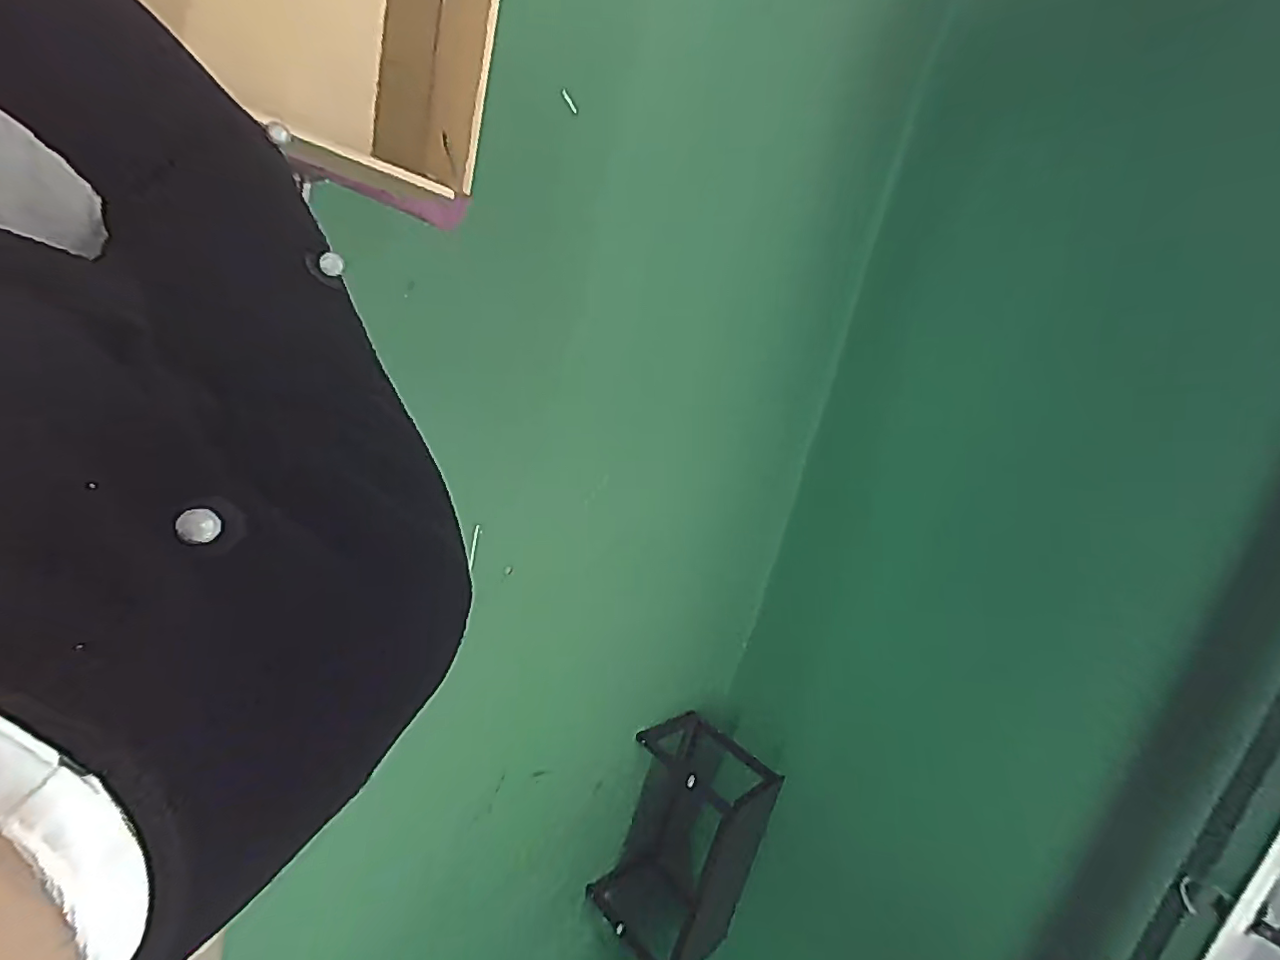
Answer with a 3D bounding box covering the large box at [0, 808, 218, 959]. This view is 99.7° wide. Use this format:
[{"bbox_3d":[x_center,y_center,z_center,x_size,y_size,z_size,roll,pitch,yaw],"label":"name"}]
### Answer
[{"bbox_3d":[-1.401,1.156,1.363,0.408,0.320,0.320,-38,133,-31],"label":"large box"}]
